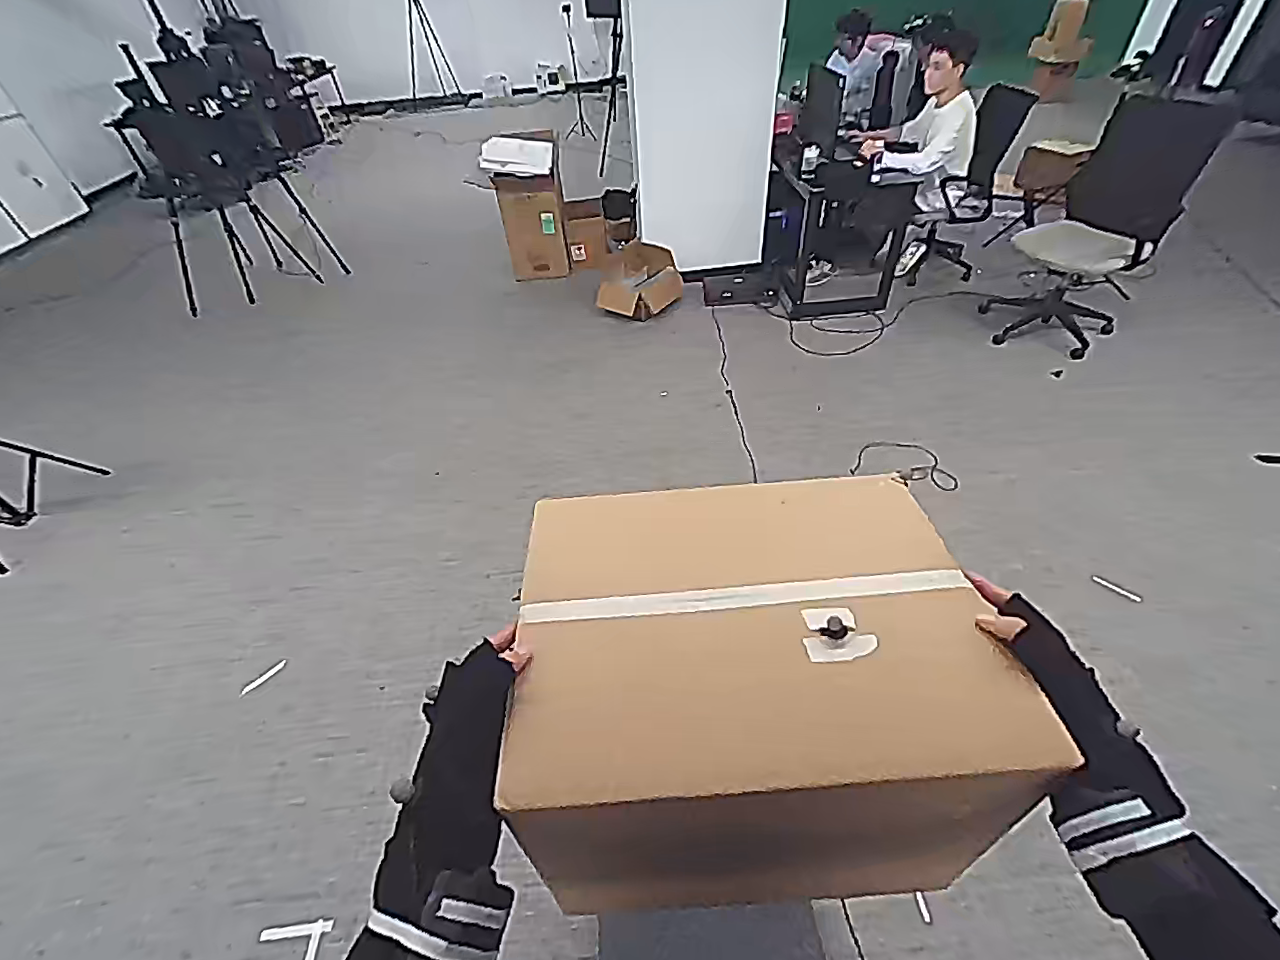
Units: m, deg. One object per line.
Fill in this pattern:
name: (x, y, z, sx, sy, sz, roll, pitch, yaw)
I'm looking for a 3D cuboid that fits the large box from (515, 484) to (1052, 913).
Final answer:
large box: (0.104, 0.232, 0.597, 0.408, 0.320, 0.320, -5, 40, 0)
